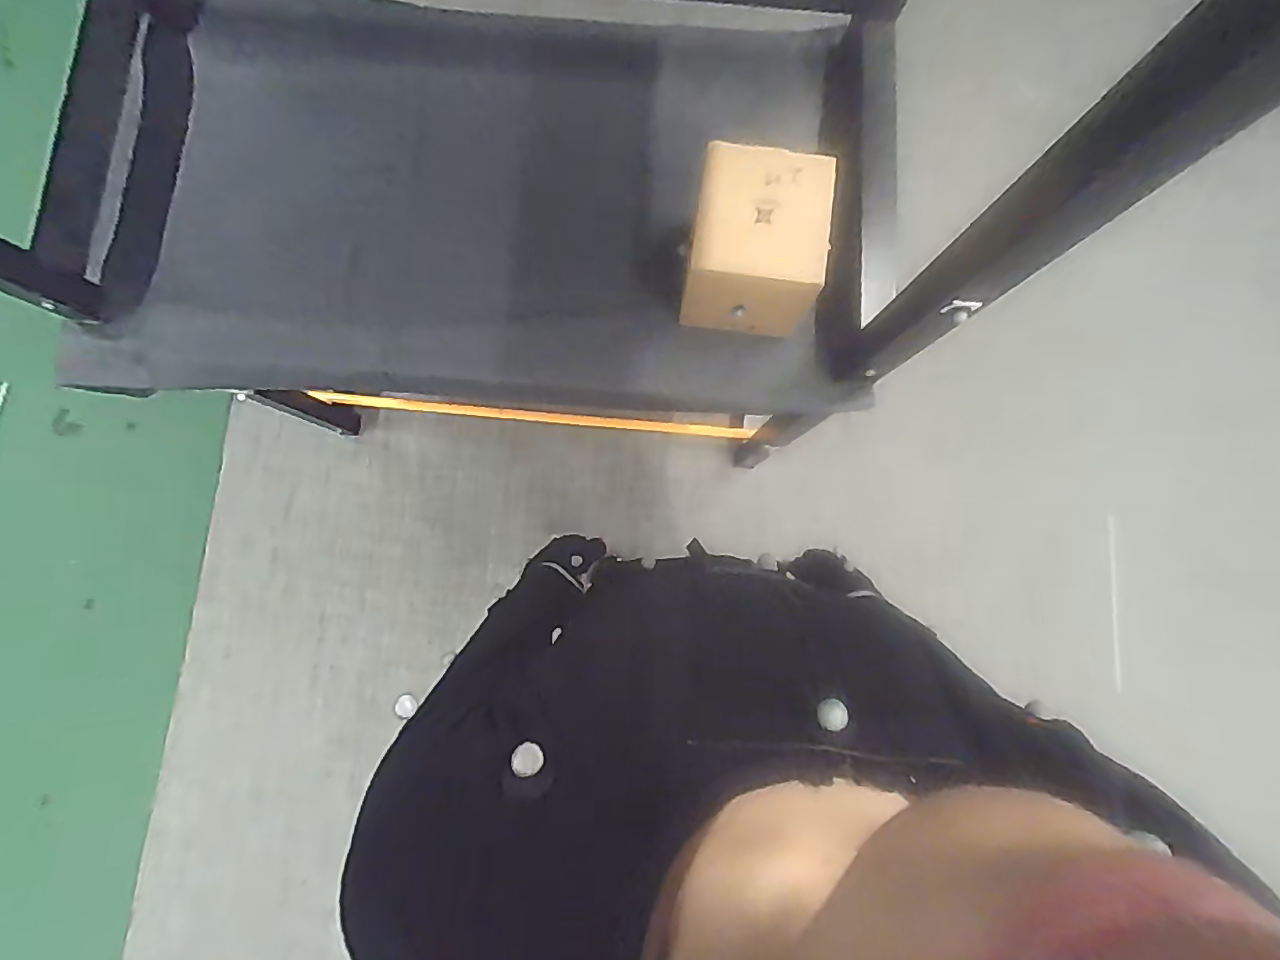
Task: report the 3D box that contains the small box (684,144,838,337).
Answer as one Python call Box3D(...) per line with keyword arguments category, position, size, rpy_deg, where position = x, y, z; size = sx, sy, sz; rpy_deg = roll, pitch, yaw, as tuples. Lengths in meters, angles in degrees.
Box3D(category="small box", position=(0.156, -0.317, 0.748), size=(0.168, 0.176, 0.179), rpy_deg=(8, 82, 0))
